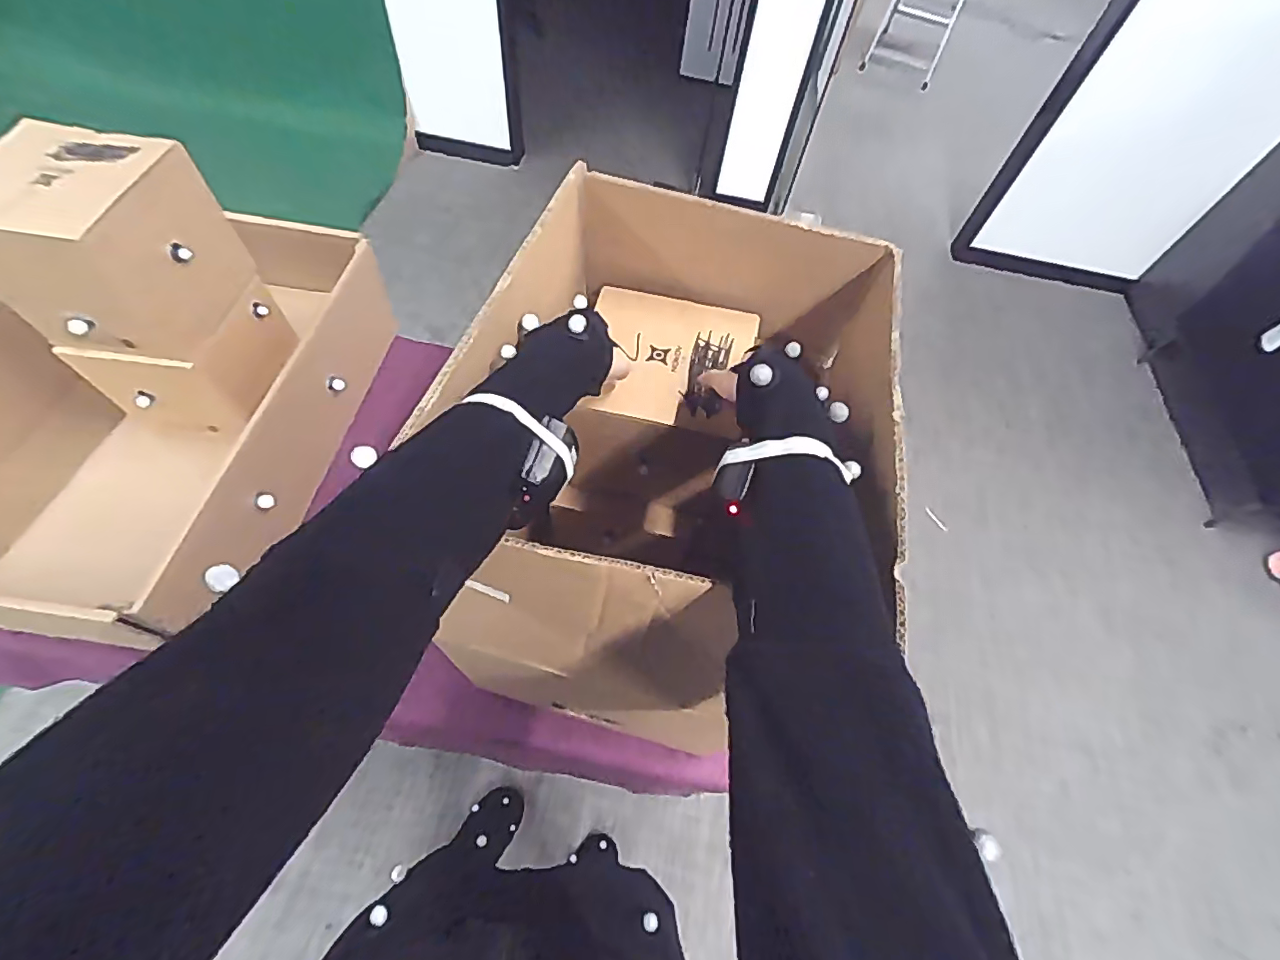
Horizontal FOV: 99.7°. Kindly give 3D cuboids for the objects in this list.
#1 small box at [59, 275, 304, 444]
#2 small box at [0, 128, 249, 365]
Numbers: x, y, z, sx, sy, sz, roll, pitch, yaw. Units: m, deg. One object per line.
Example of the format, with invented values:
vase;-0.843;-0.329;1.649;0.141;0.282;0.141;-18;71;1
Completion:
small box;-0.611;-0.169;0.755;0.168;0.176;0.179;6;59;-2
small box;-0.596;-0.260;0.618;0.168;0.176;0.179;7;60;-1
